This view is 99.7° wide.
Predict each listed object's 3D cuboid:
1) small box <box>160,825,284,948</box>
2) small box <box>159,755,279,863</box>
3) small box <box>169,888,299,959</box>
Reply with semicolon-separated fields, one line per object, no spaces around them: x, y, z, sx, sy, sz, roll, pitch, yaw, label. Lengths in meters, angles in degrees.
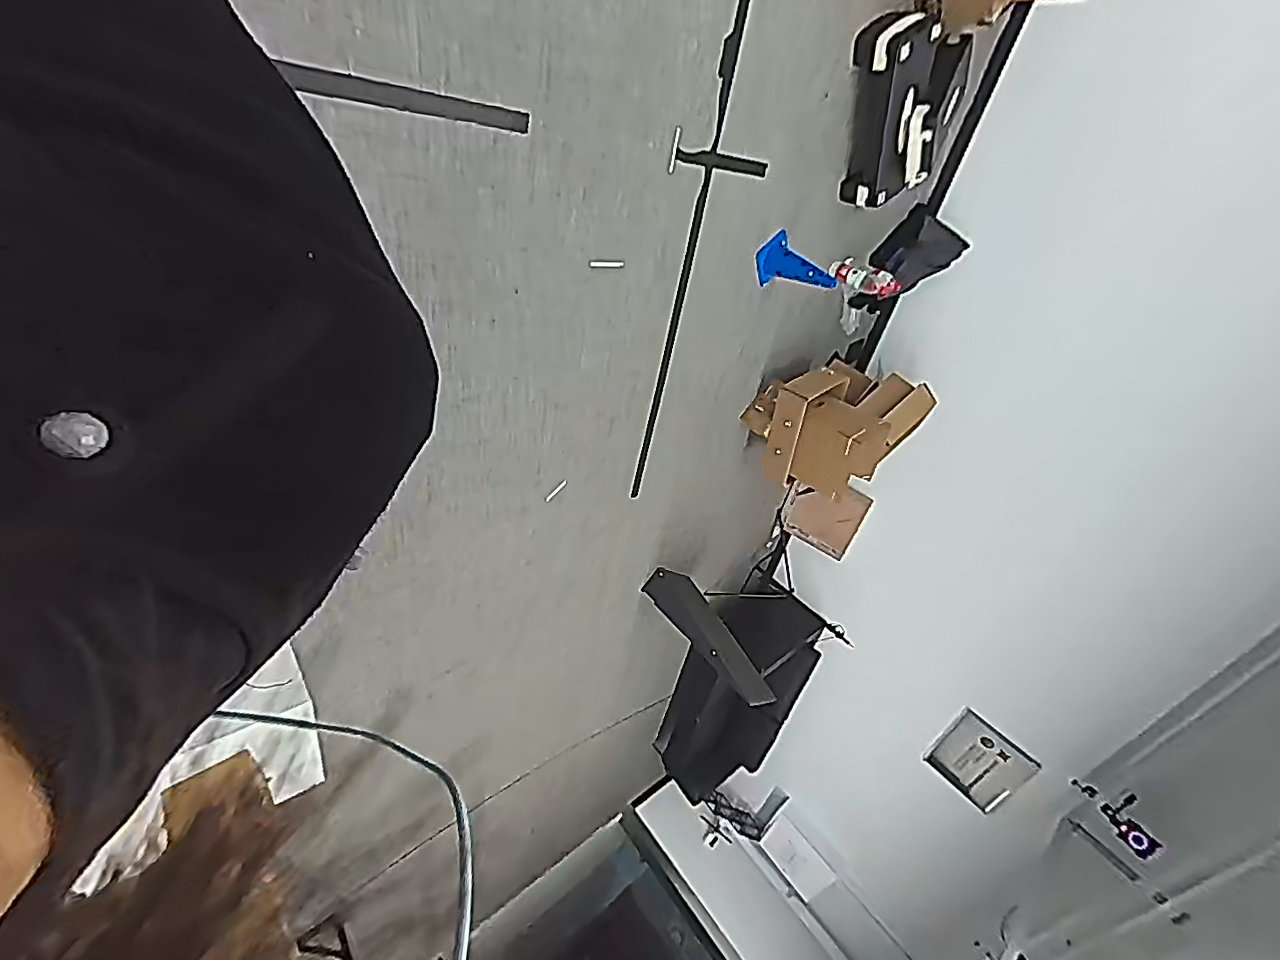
-0.921;0.907;1.193;0.168;0.176;0.179;-21;138;-35;small box
-1.002;0.800;1.289;0.179;0.176;0.168;-22;137;-34;small box
-0.812;0.984;1.096;0.179;0.176;0.168;-19;135;-37;small box
